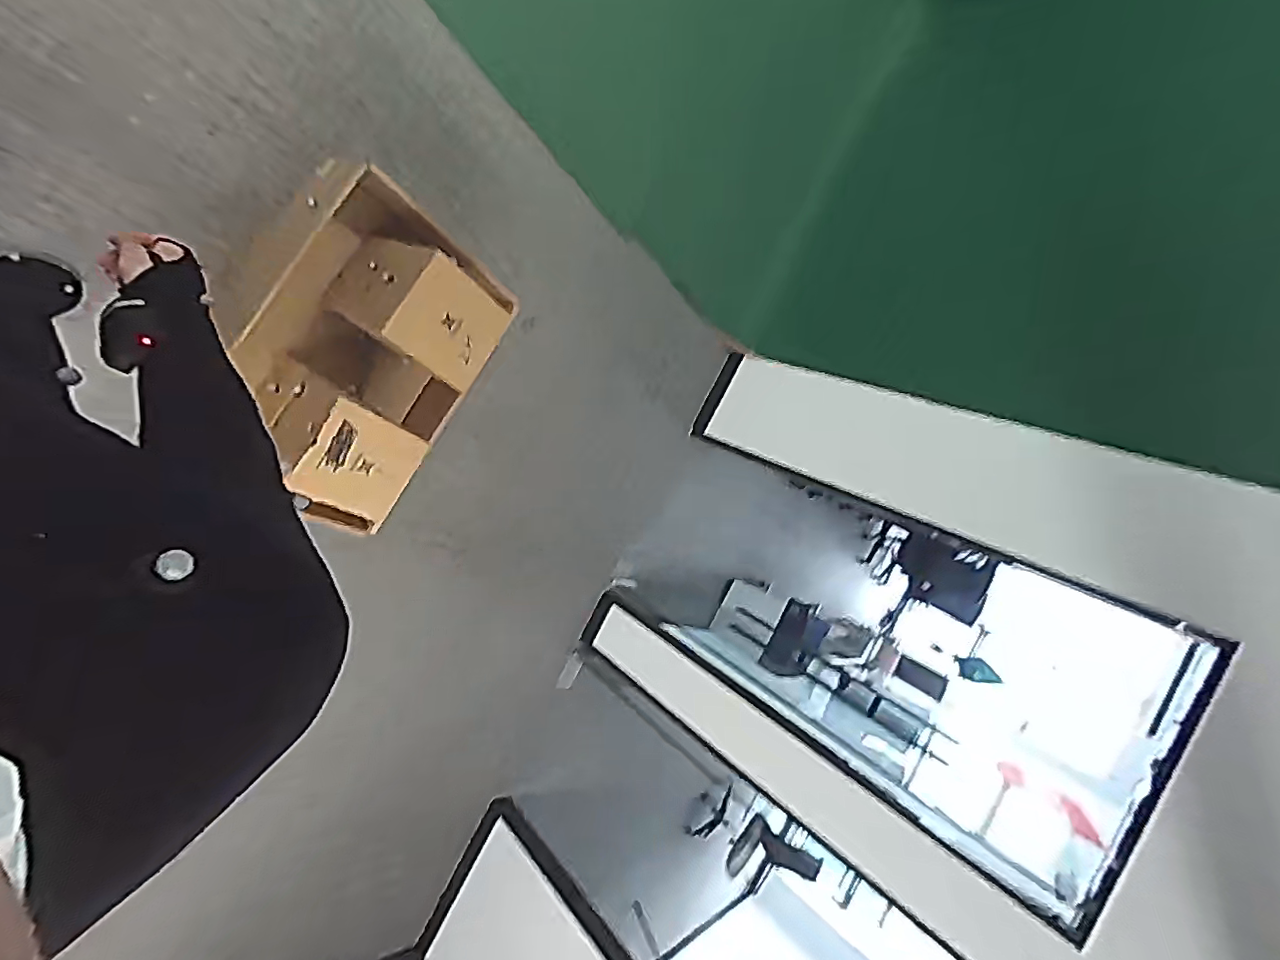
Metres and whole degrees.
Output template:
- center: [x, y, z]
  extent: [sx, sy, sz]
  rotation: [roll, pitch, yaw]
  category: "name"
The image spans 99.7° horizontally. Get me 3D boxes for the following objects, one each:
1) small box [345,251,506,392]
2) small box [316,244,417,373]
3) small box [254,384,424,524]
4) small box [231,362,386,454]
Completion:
- center: [-0.385, -0.286, 0.966]
  extent: [0.168, 0.176, 0.179]
  rotation: [-57, 141, -6]
  category: "small box"
- center: [-0.495, -0.345, 1.074]
  extent: [0.168, 0.176, 0.179]
  rotation: [-58, 142, -8]
  category: "small box"
- center: [-0.527, -0.050, 0.944]
  extent: [0.168, 0.176, 0.179]
  rotation: [-59, 142, -5]
  category: "small box"
- center: [-0.643, -0.110, 1.045]
  extent: [0.168, 0.176, 0.179]
  rotation: [-59, 142, -6]
  category: "small box"
